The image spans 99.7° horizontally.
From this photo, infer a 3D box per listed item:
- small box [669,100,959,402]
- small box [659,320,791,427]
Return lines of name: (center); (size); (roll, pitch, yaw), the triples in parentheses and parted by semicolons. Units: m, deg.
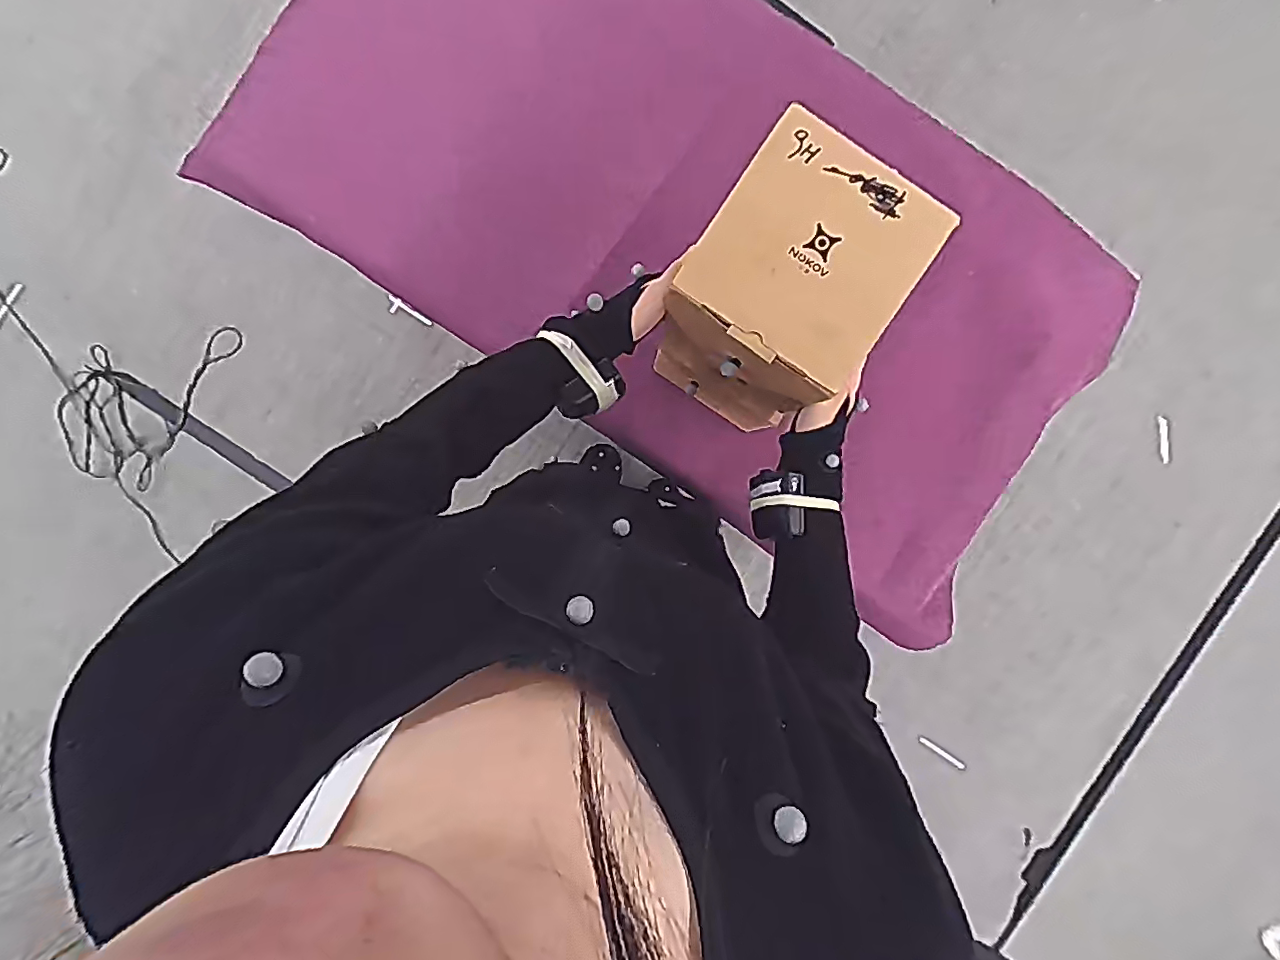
small box: (0.142, -0.189, 0.511); (0.168, 0.176, 0.179); (35, 94, -1)
small box: (0.137, -0.183, 0.697); (0.168, 0.176, 0.179); (34, 91, -2)
